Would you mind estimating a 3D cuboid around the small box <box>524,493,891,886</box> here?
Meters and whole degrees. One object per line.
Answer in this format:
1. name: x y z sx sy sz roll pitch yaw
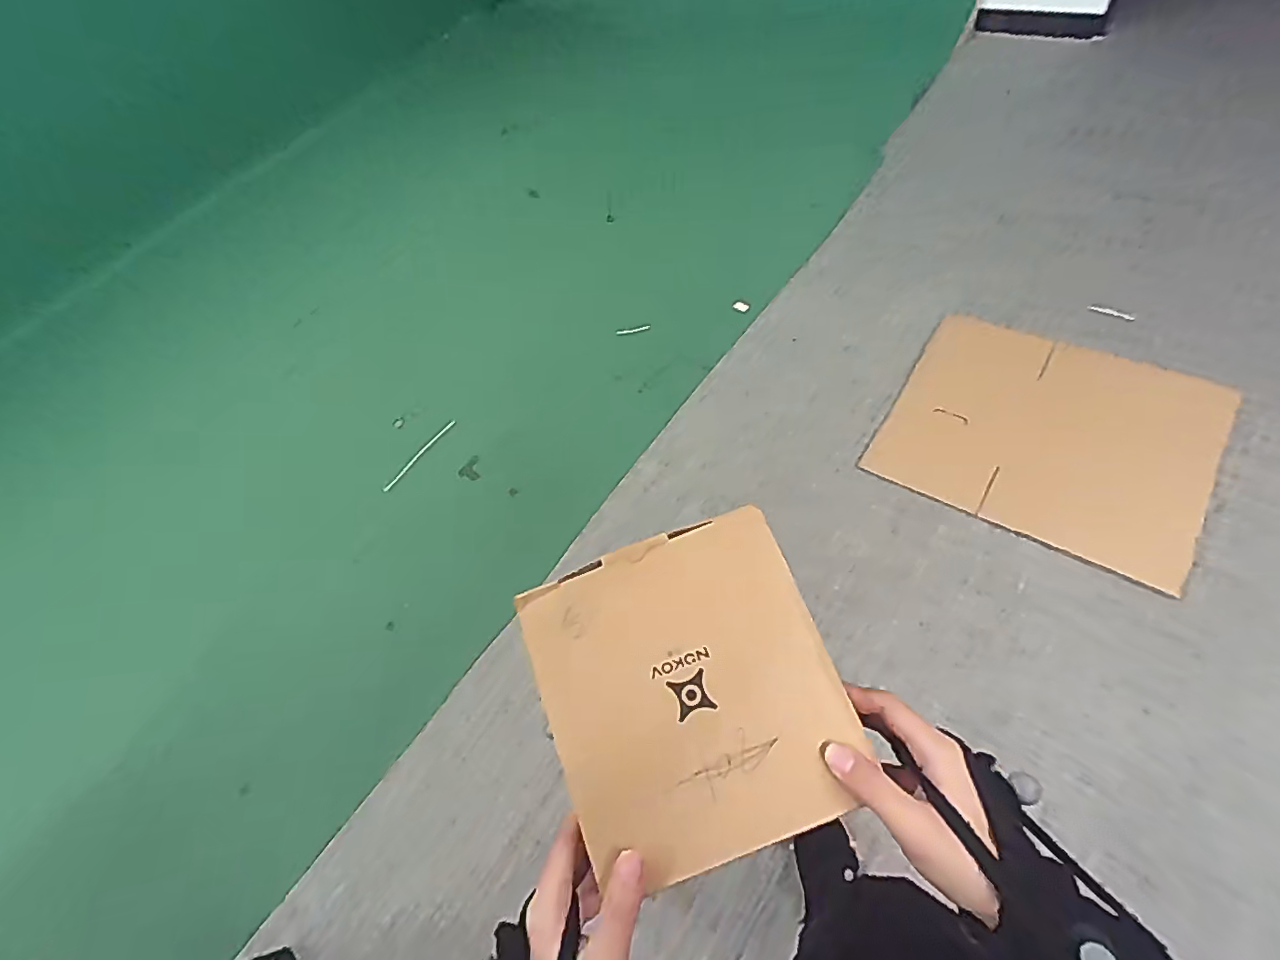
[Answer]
1. small box: 0.037 0.134 0.387 0.168 0.176 0.179 -21 73 -1
